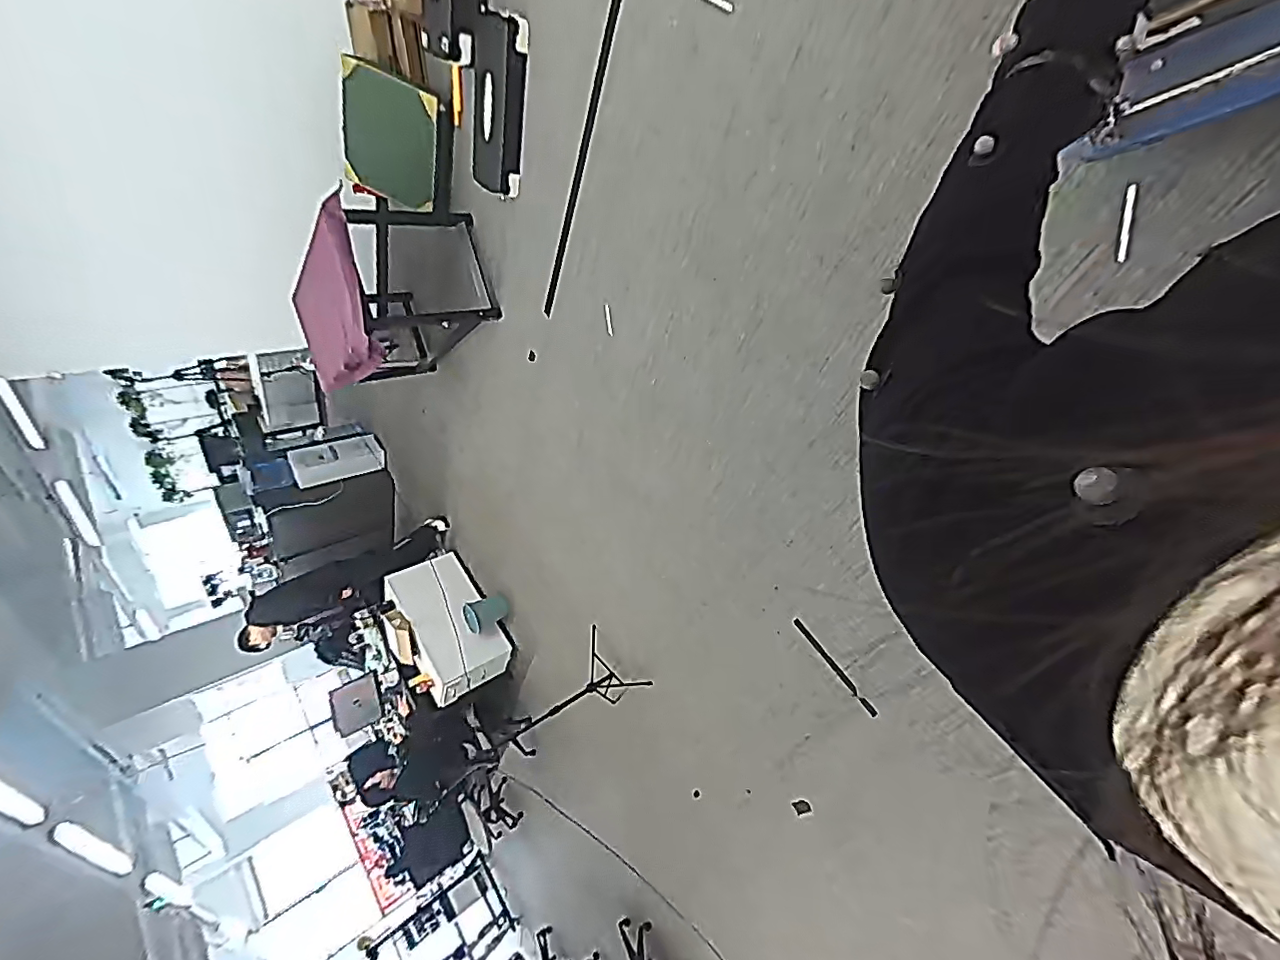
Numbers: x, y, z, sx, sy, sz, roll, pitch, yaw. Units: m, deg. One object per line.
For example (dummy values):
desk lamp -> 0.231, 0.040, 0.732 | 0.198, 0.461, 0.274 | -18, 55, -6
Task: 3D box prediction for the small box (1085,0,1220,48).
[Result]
small box -> 0.755, -0.767, 0.777 | 0.168, 0.176, 0.179 | -7, 101, 49
